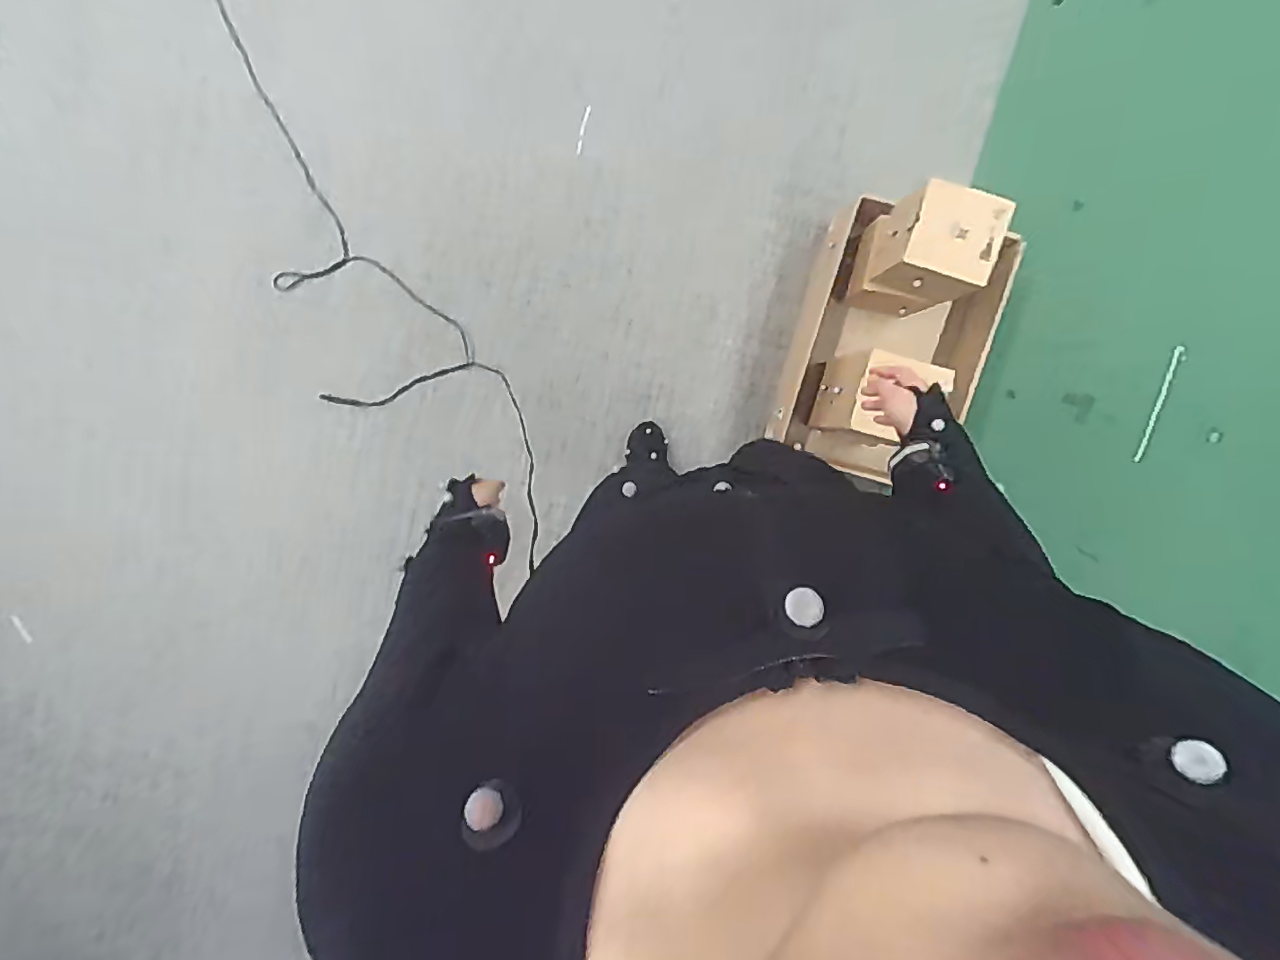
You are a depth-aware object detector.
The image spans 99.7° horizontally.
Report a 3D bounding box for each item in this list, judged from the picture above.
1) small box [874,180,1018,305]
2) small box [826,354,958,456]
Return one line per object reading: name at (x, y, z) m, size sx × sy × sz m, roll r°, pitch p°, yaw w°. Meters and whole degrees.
small box at (0.612, -0.474, 1.108) m, size 0.179 × 0.176 × 0.168 m, roll 17°, pitch 97°, yaw 0°
small box at (0.525, -0.157, 1.149) m, size 0.179 × 0.176 × 0.168 m, roll 15°, pitch 96°, yaw 0°
